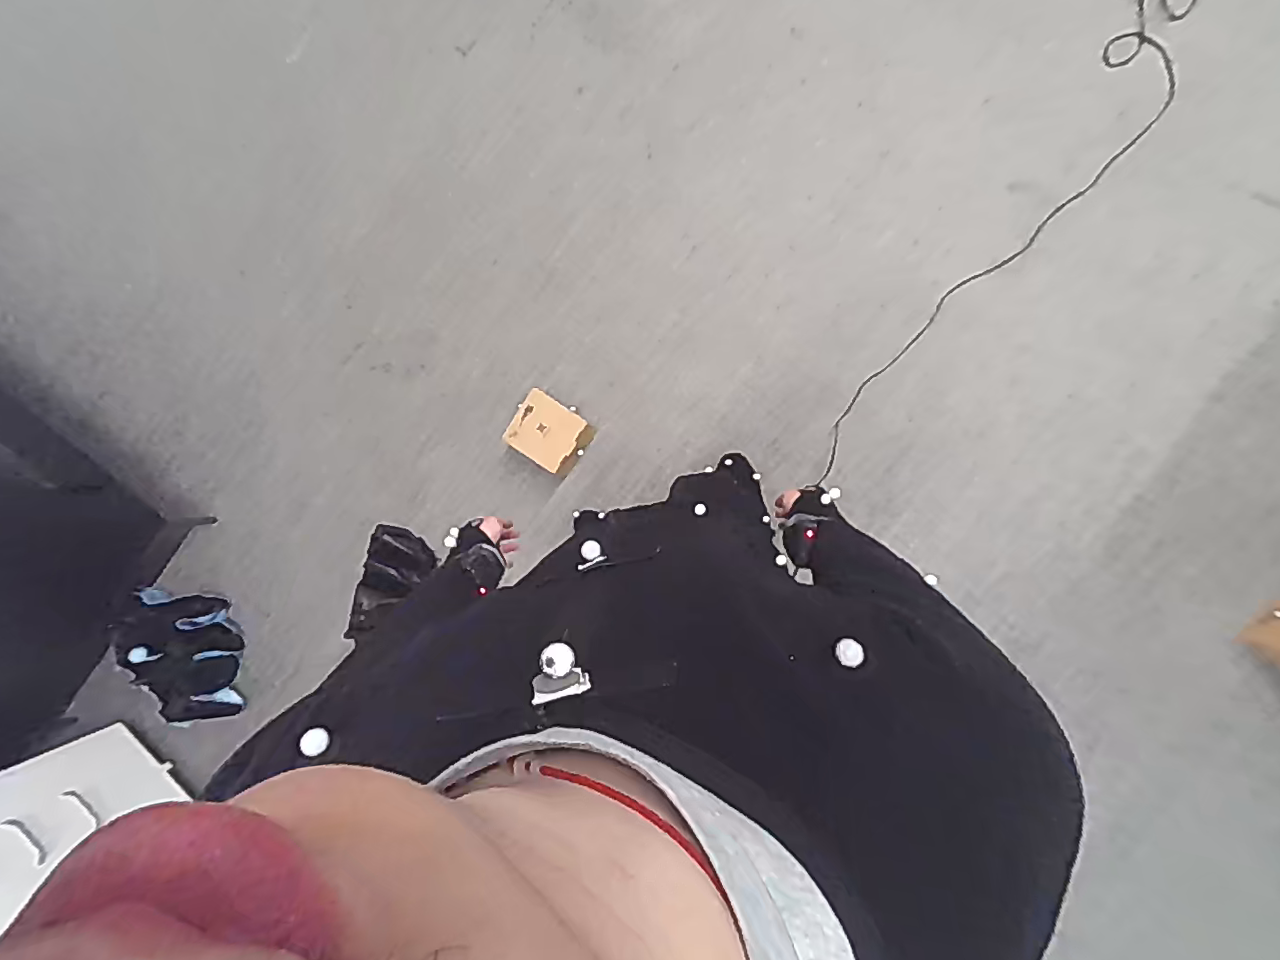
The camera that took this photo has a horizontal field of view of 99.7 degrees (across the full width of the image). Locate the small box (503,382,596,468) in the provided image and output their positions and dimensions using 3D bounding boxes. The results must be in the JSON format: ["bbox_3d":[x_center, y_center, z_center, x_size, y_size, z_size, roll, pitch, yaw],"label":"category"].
[{"bbox_3d":[-0.241,-0.148,1.498,0.179,0.176,0.168,35,94,4],"label":"small box"}]

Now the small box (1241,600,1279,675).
[{"bbox_3d":[1.636,0.406,1.289,0.179,0.176,0.168,43,95,6],"label":"small box"}]
